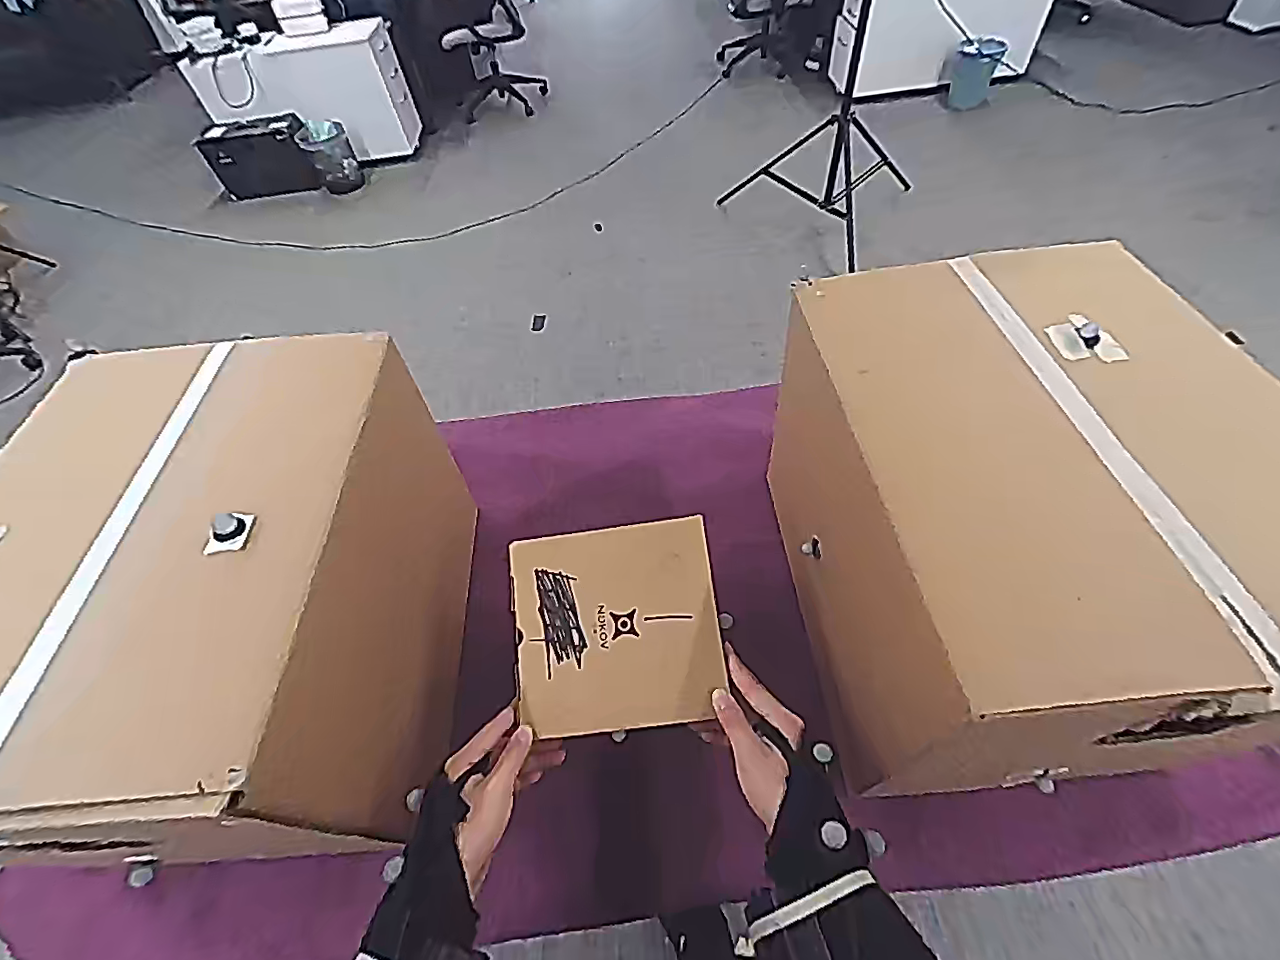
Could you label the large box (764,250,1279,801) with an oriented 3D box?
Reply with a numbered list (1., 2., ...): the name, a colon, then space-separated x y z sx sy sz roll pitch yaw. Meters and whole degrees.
1. large box: 0.324 0.042 0.521 0.320 0.320 0.408 -7 51 1
